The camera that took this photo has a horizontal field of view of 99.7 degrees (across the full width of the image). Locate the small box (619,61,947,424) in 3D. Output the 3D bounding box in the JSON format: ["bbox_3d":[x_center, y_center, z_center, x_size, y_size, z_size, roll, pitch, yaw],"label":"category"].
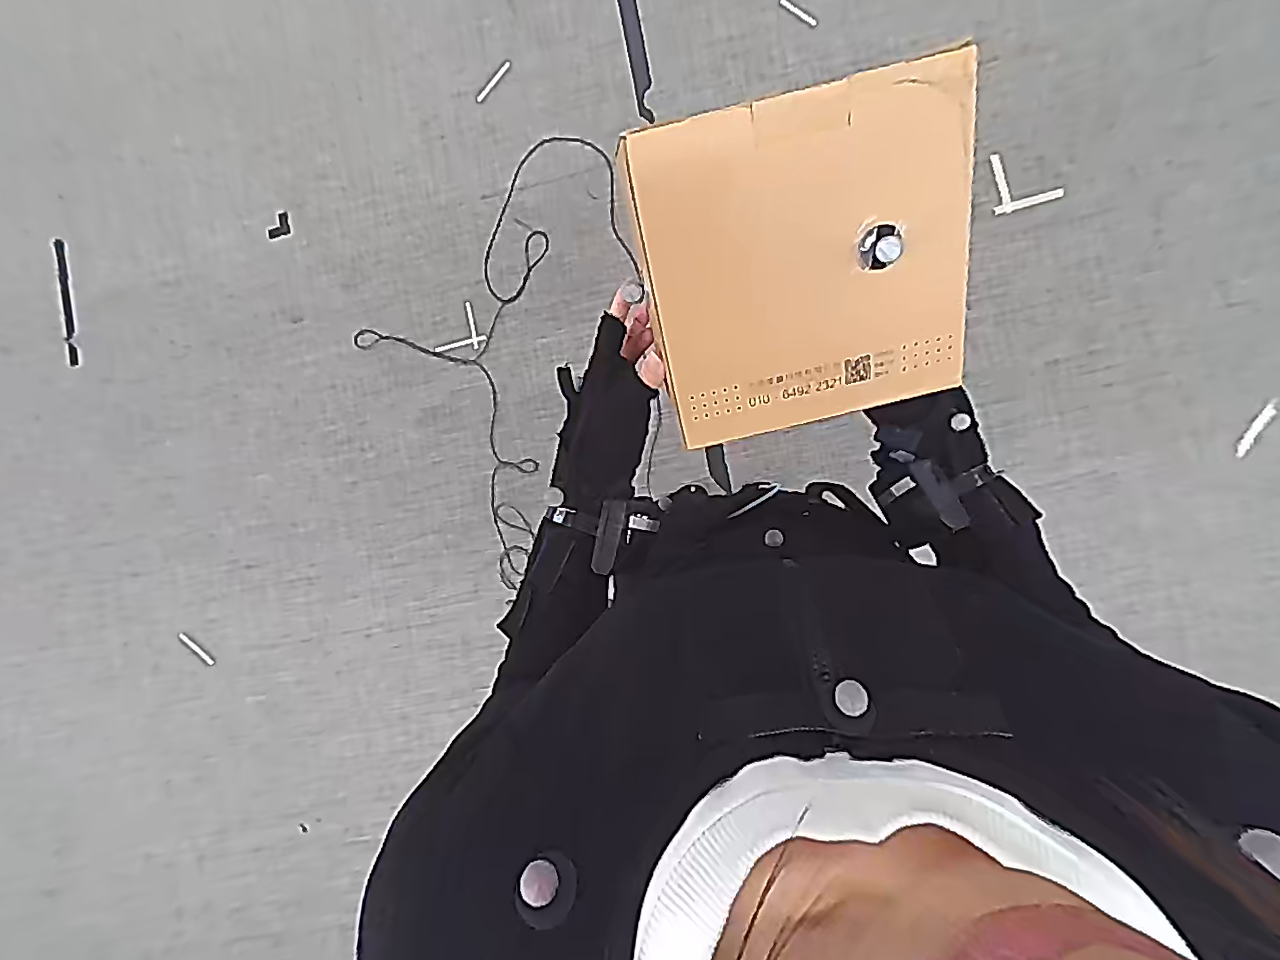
[{"bbox_3d":[0.085,-0.150,0.375,0.168,0.179,0.176,-13,118,3],"label":"small box"}]
